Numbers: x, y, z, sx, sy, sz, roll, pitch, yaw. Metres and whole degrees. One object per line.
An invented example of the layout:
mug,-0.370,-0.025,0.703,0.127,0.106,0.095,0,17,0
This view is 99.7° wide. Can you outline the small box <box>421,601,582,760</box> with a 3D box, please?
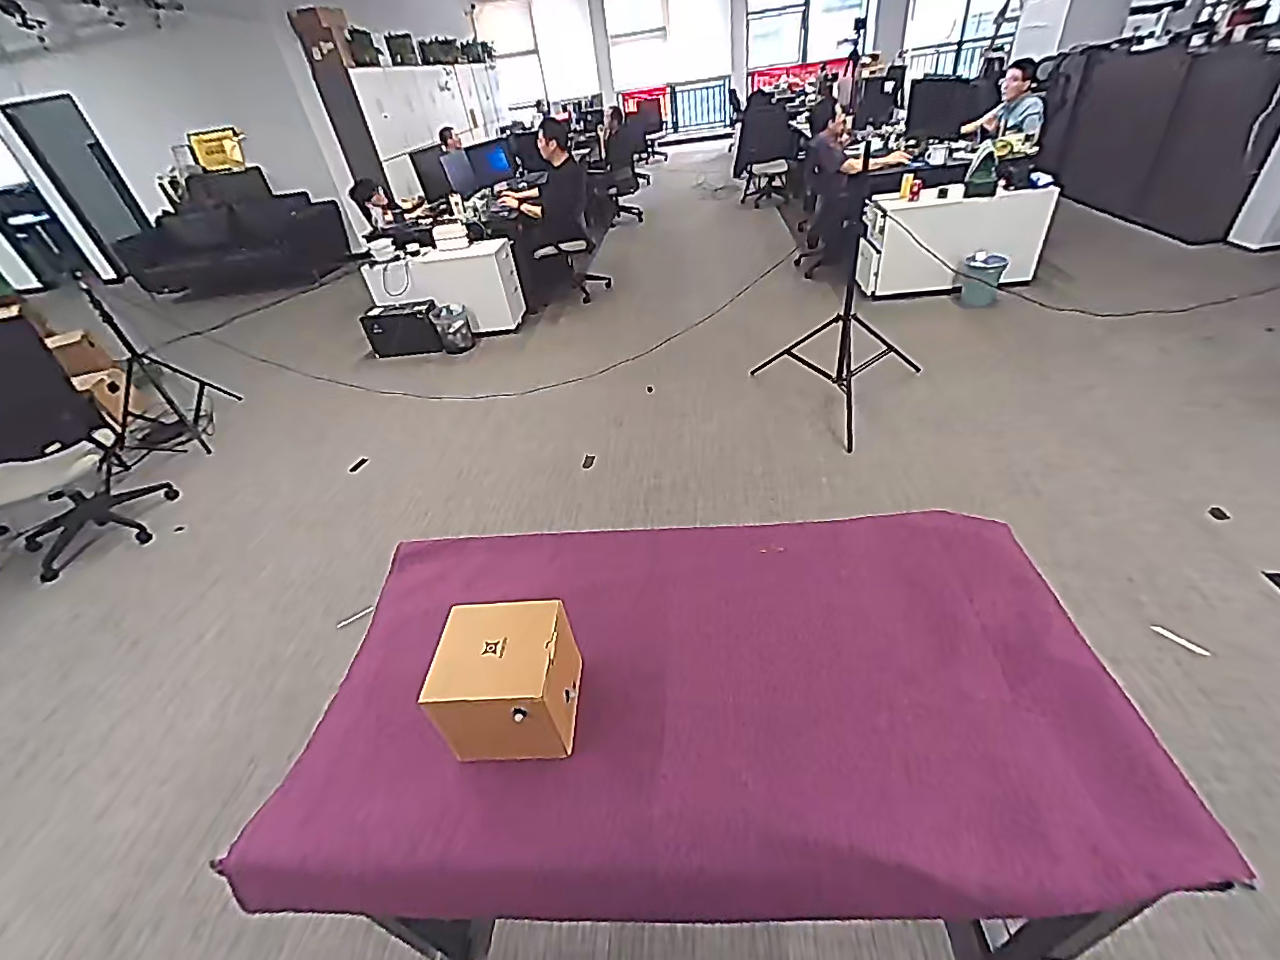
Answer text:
small box,-0.196,0.306,0.824,0.179,0.176,0.168,-5,37,4
